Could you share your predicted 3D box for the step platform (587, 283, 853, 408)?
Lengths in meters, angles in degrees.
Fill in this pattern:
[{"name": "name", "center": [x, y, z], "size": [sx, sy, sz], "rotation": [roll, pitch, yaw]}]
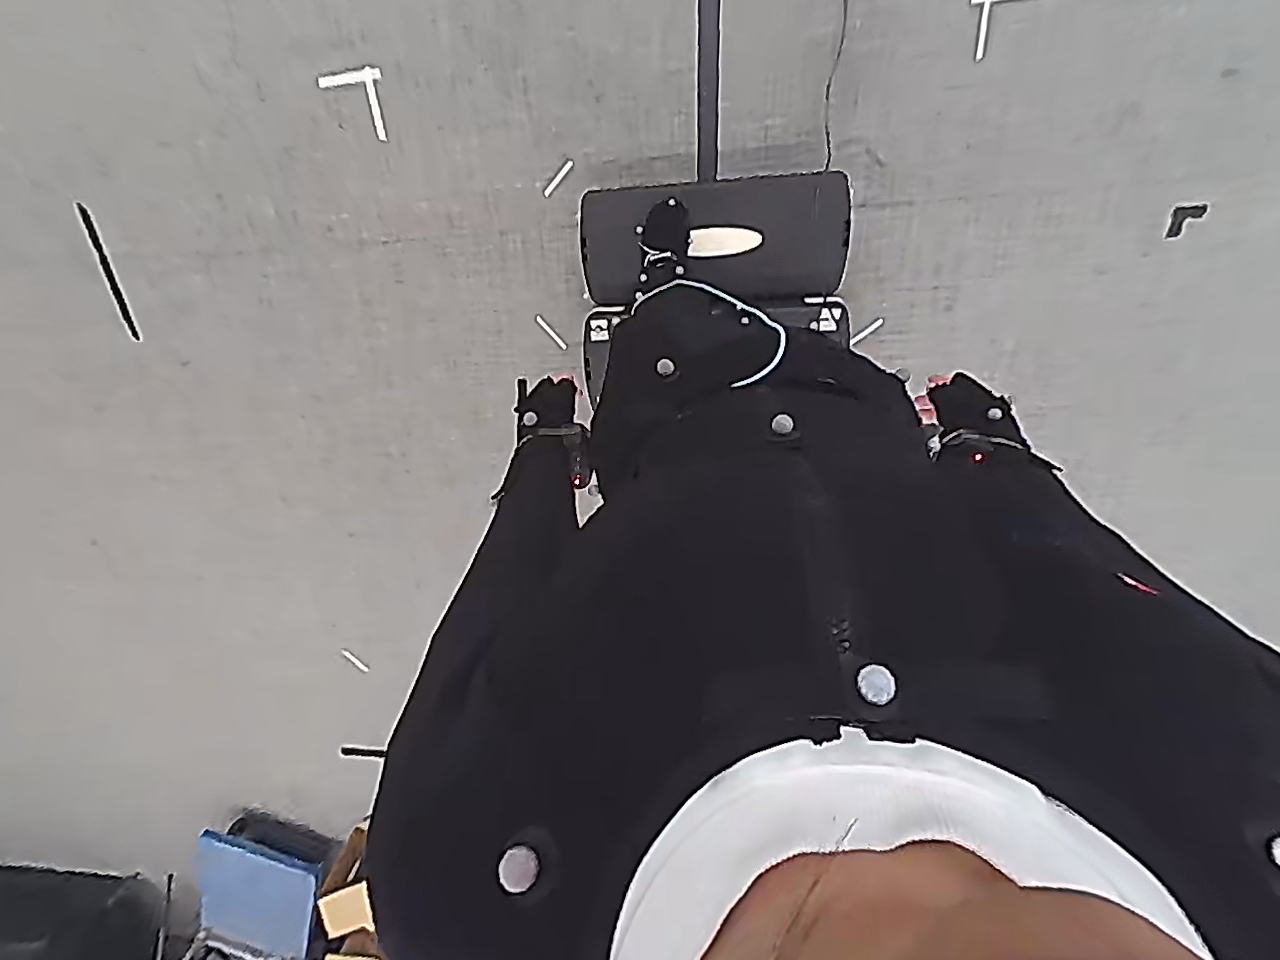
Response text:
[{"name": "step platform", "center": [0.203, -0.352, 1.439], "size": [0.684, 0.204, 0.286], "rotation": [-1, 112, 9]}]
